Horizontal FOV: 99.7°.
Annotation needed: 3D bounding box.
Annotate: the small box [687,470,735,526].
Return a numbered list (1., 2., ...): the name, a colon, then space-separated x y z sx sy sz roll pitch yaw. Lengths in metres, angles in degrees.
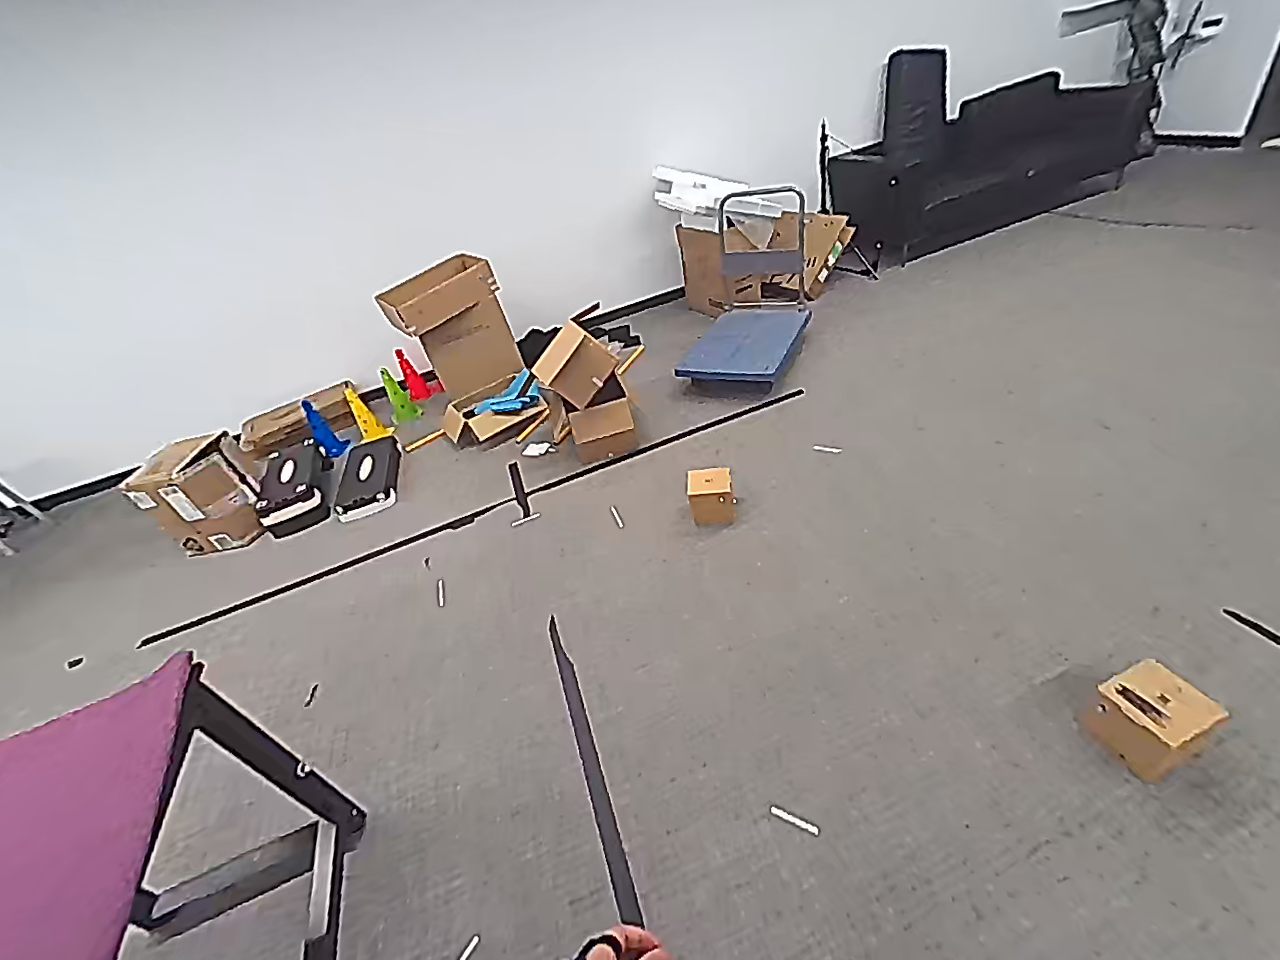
1. small box: 0.299 0.078 2.265 0.179 0.176 0.168 -6 36 11
